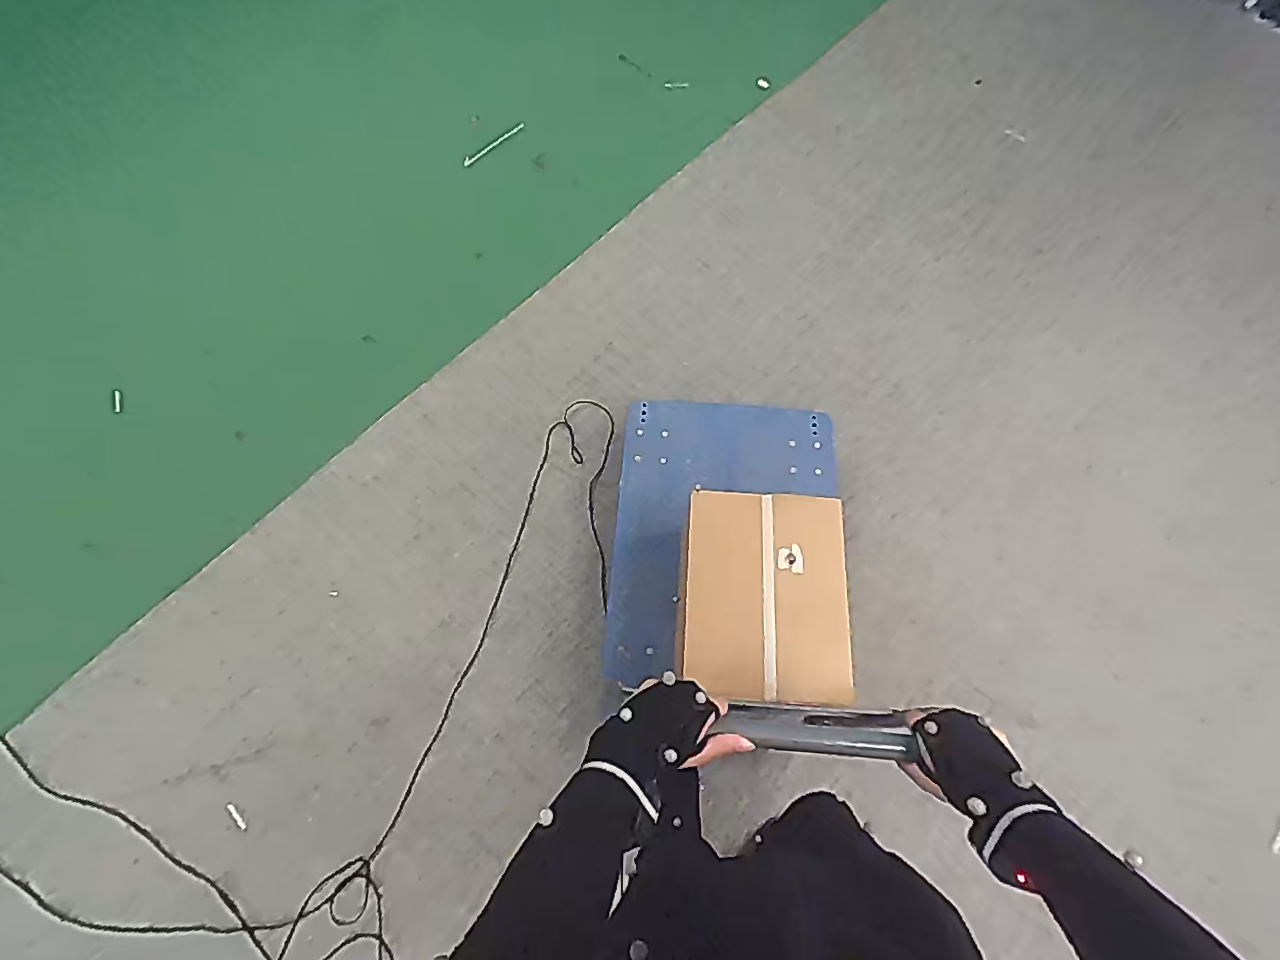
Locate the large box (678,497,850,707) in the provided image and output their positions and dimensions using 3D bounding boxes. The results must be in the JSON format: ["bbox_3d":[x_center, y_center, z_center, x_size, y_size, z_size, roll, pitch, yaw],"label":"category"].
[{"bbox_3d":[0.247,0.285,1.207,0.320,0.320,0.408,4,68,1],"label":"large box"}]
